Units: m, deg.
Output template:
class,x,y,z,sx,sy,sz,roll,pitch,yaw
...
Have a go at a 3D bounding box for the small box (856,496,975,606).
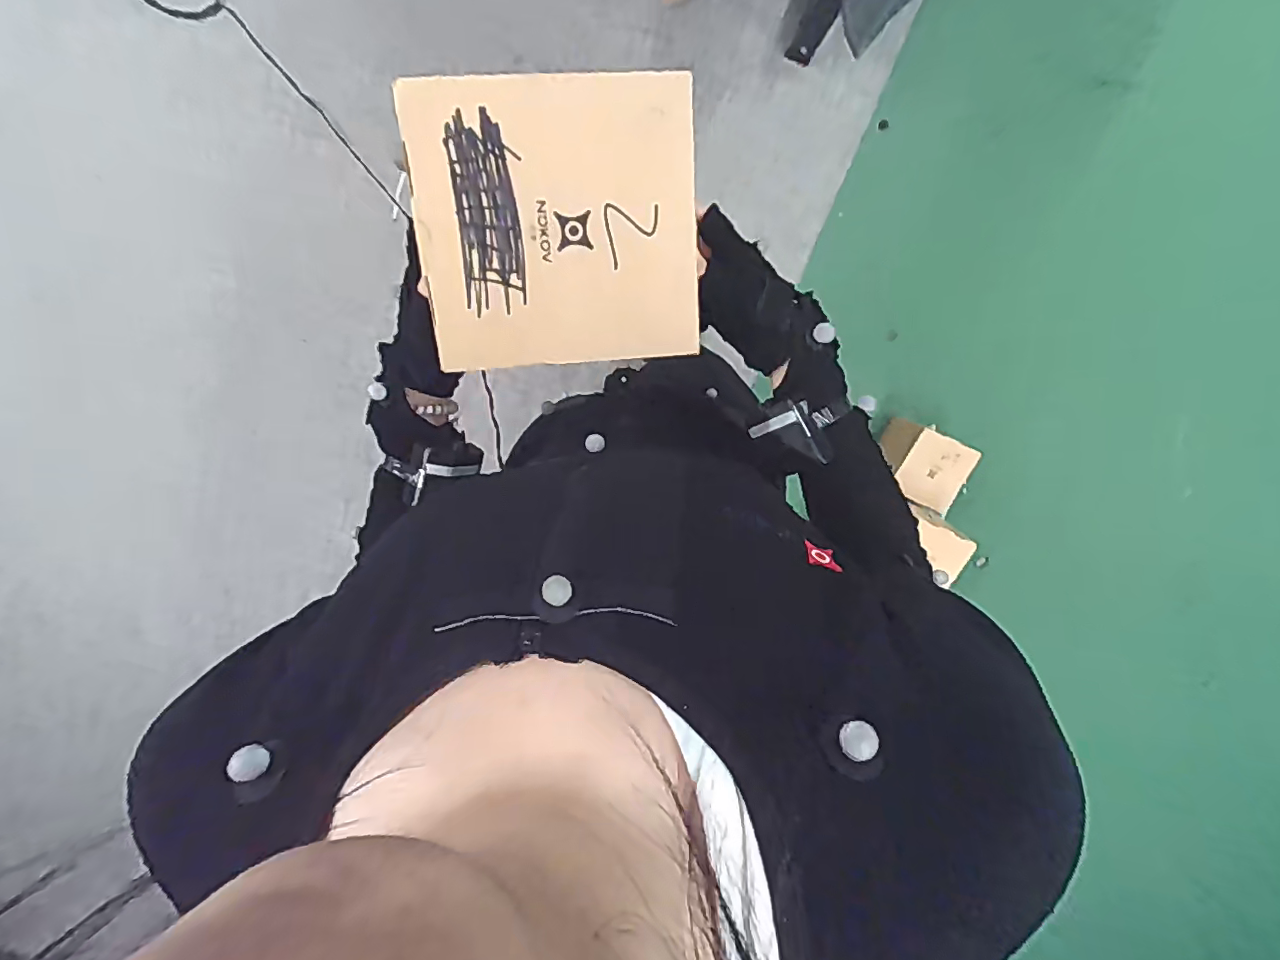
class,x,y,z,sx,sy,sz,roll,pitch,yaw
small box,0.649,0.165,1.306,0.168,0.176,0.179,25,105,-6
